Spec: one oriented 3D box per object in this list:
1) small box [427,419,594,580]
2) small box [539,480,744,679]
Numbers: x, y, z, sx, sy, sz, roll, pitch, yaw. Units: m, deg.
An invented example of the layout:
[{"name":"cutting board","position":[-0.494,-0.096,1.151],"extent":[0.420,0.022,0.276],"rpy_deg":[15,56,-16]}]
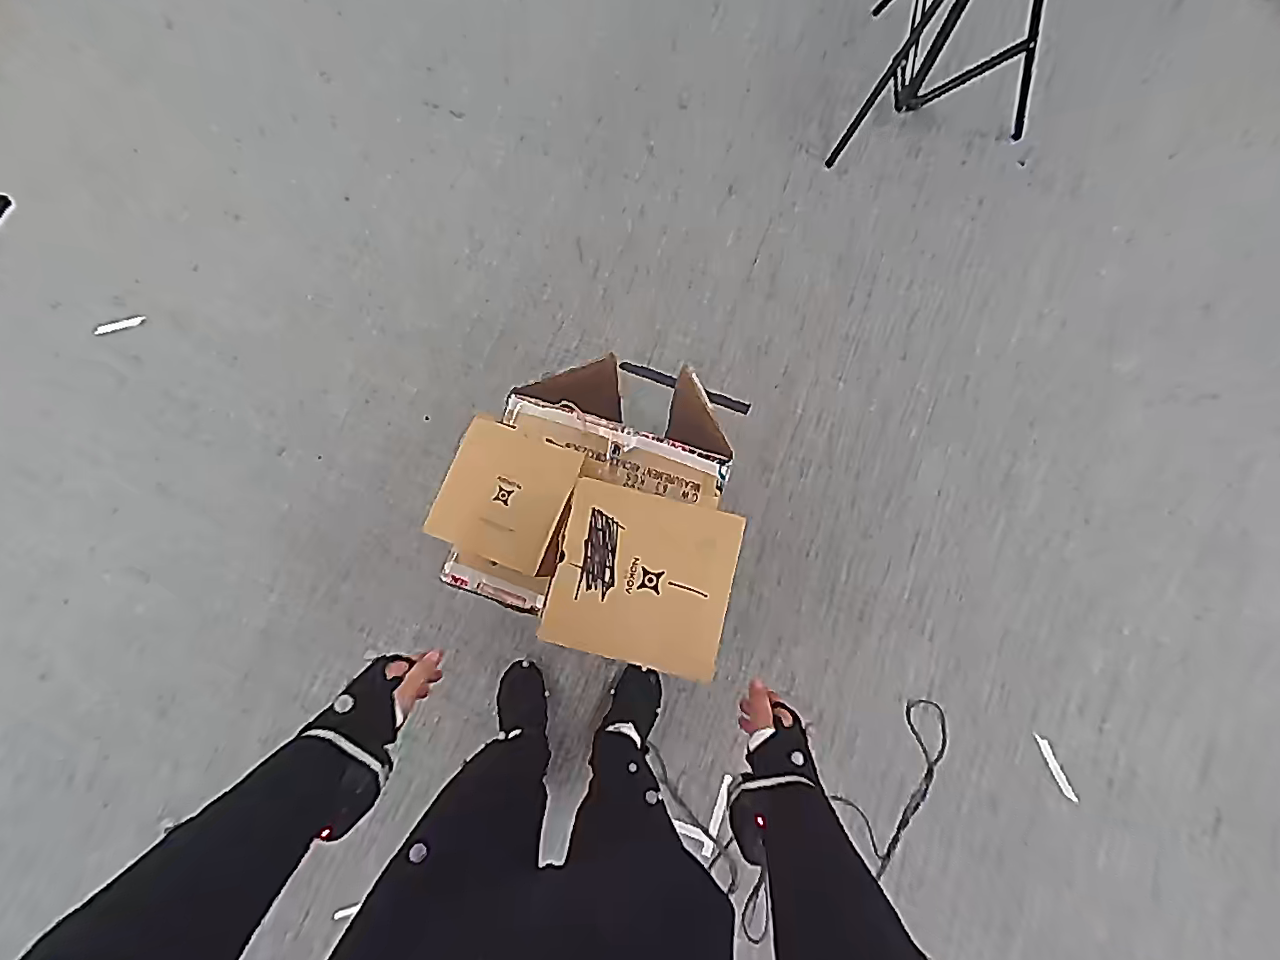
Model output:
[{"name":"small box","position":[-0.176,0.036,0.800],"extent":[0.168,0.176,0.179],"rpy_deg":[20,82,6]},{"name":"small box","position":[0.004,0.110,0.619],"extent":[0.179,0.176,0.168],"rpy_deg":[14,82,2]}]
